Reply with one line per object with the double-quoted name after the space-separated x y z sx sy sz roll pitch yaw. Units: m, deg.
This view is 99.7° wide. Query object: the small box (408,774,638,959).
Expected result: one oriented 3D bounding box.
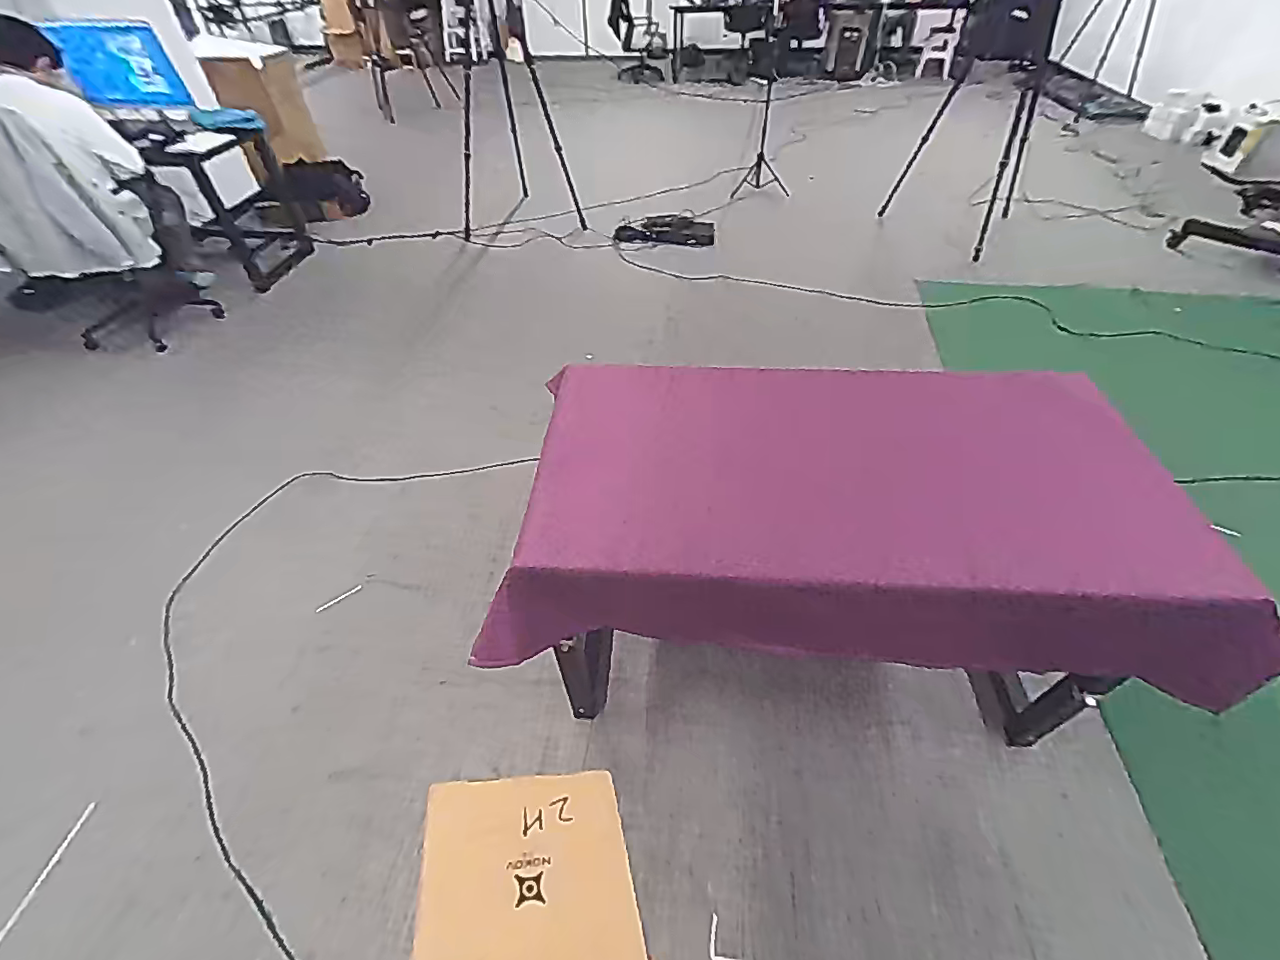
-0.110 0.390 0.467 0.168 0.176 0.179 7 25 -18 "small box"
